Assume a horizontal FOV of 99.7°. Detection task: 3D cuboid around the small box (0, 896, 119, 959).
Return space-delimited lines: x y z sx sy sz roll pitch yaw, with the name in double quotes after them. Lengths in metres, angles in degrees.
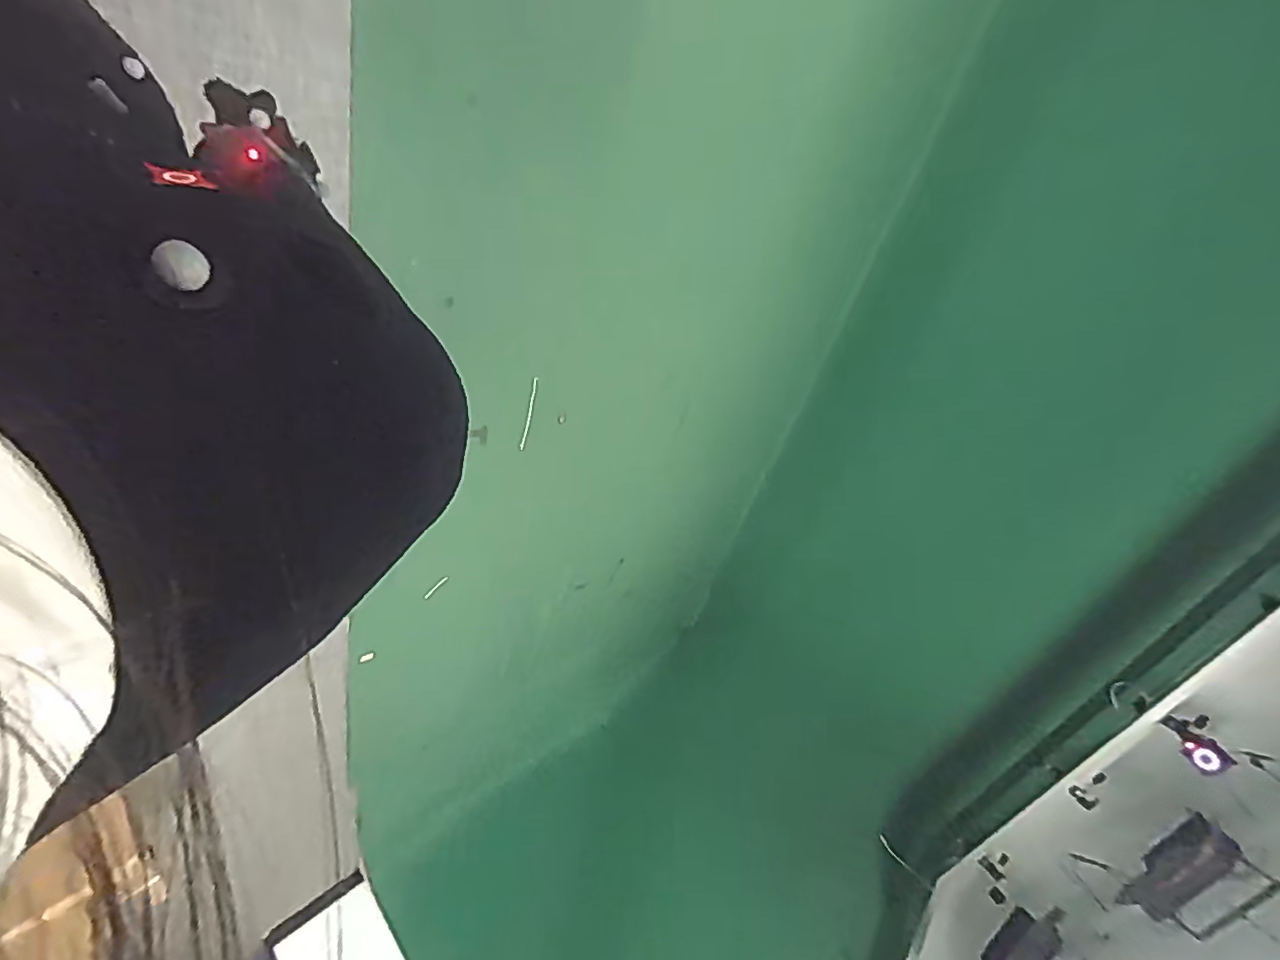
-1.493 1.232 1.390 0.179 0.176 0.168 -21 136 -42 "small box"
